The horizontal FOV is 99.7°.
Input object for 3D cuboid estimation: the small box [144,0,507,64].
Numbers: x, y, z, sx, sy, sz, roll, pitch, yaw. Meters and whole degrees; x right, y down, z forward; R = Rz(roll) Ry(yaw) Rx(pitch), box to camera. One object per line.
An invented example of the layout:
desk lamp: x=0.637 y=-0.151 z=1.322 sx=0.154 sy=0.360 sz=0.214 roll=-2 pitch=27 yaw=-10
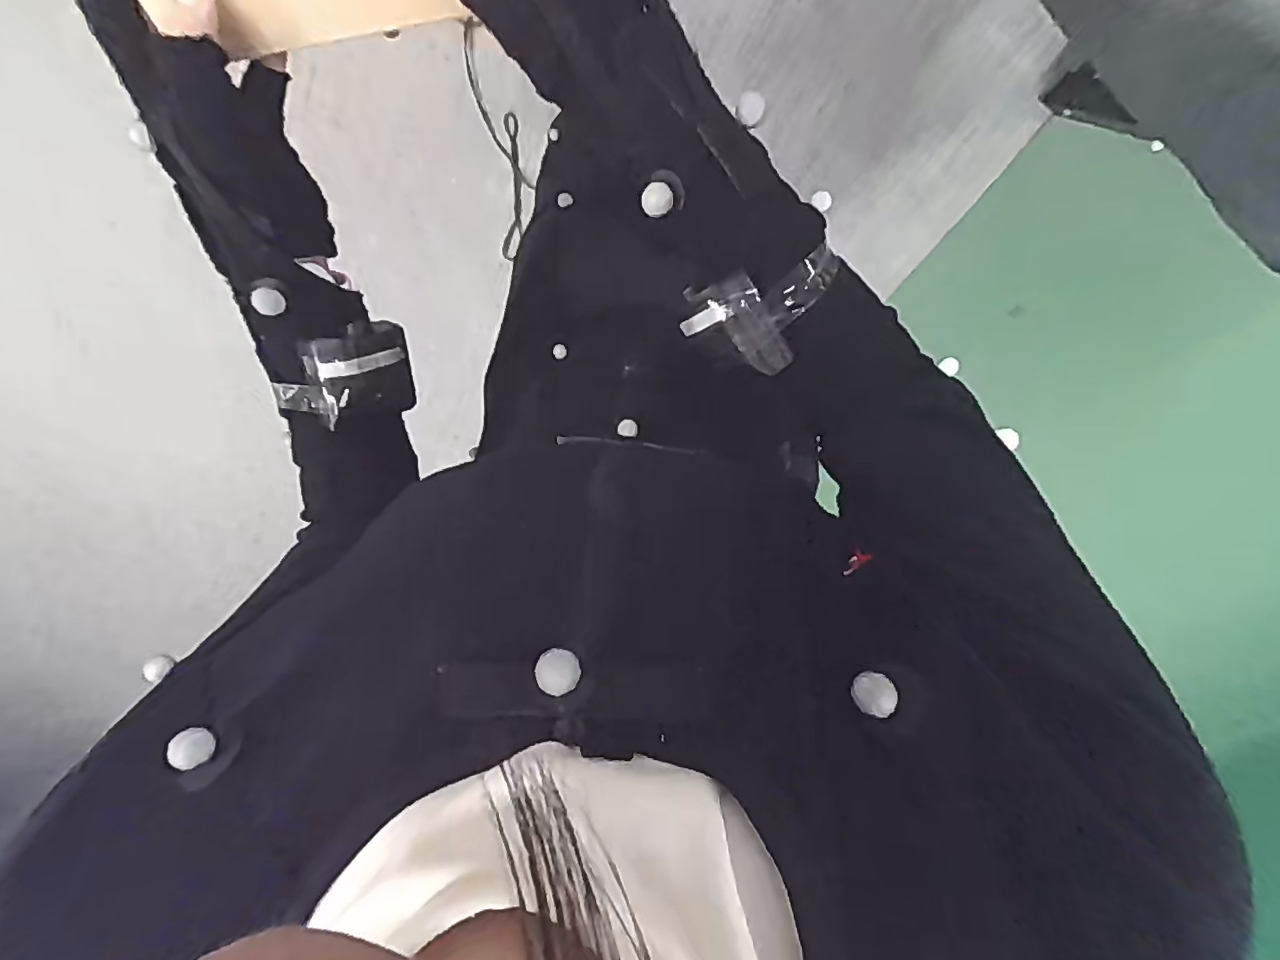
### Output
small box: x=-0.165 y=-0.334 z=0.254 sx=0.168 sy=0.176 sz=0.179 roll=-10 pitch=140 yaw=2
